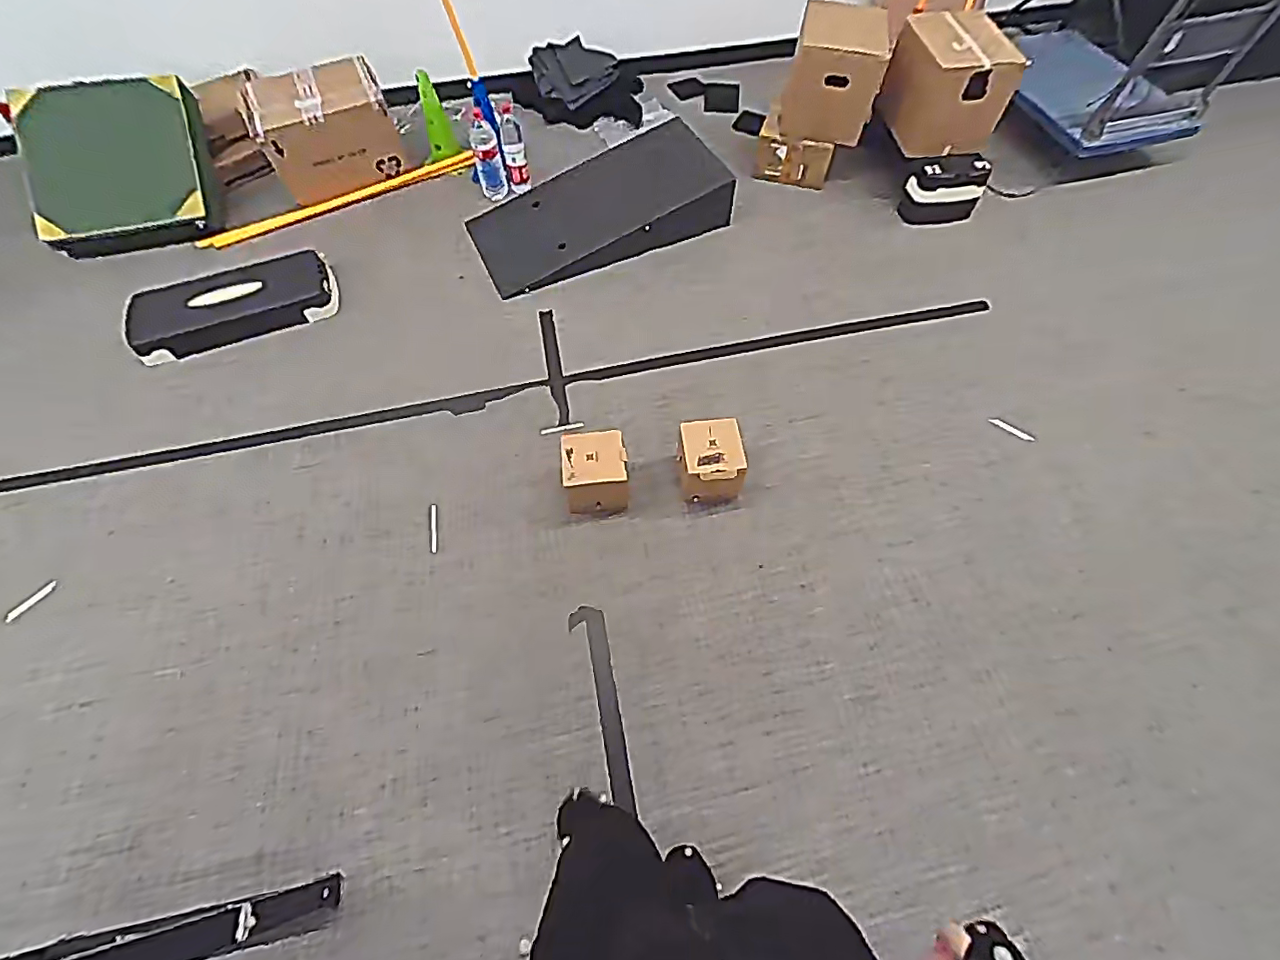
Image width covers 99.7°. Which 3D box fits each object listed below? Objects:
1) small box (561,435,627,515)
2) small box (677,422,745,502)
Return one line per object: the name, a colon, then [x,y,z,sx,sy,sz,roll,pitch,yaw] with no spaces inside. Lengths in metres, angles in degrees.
small box: [-0.130,-0.010,1.552,0.179,0.176,0.168,-5,60,-4]
small box: [0.200,-0.045,1.572,0.168,0.176,0.179,-5,60,-3]
